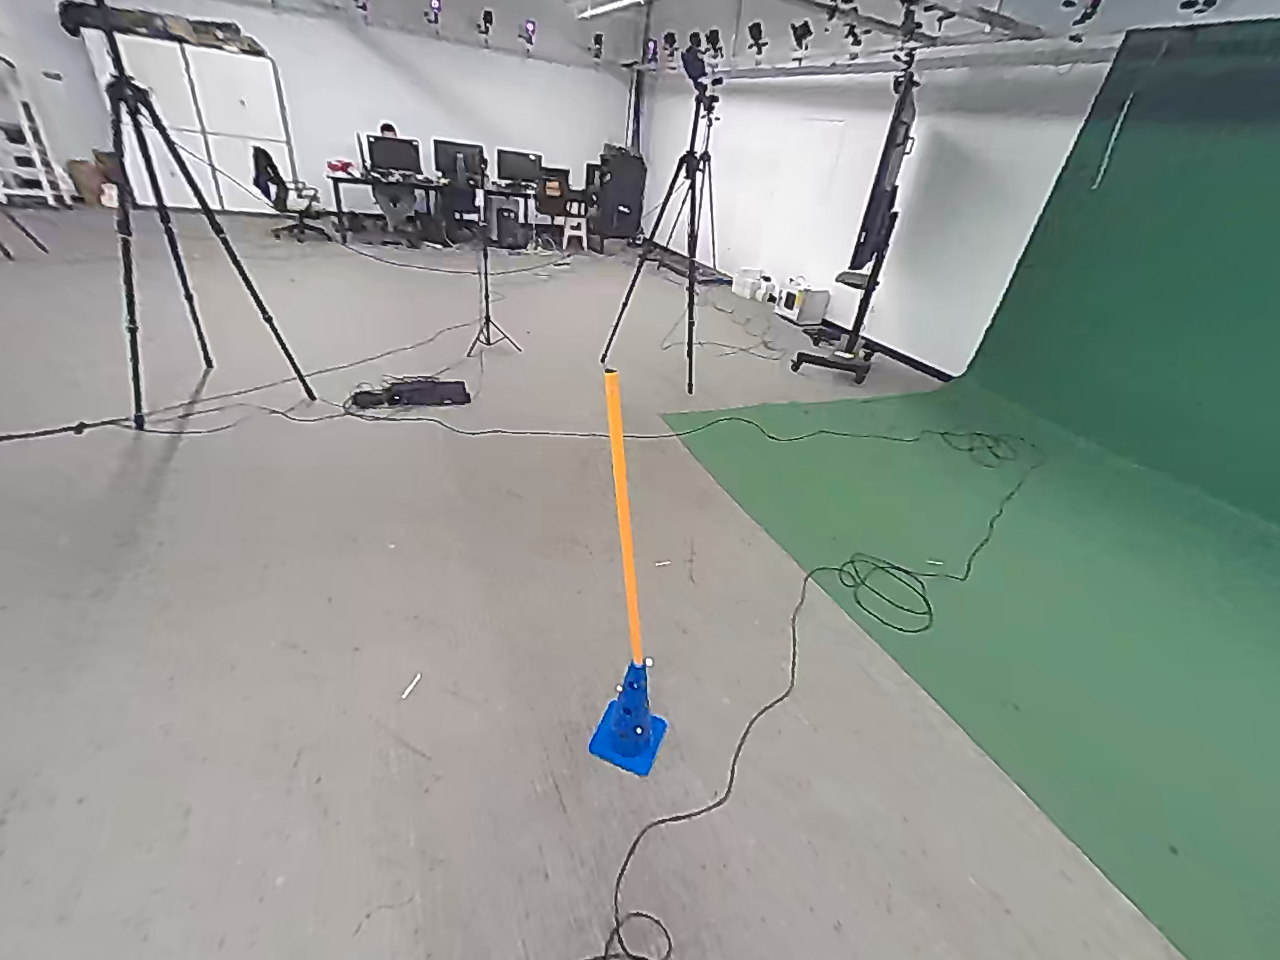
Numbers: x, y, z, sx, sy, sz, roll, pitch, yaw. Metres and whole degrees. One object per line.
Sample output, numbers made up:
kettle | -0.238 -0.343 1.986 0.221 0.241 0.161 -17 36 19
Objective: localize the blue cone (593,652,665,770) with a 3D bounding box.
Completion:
blue cone | -0.019 0.644 1.563 0.193 0.380 0.192 15 33 14
